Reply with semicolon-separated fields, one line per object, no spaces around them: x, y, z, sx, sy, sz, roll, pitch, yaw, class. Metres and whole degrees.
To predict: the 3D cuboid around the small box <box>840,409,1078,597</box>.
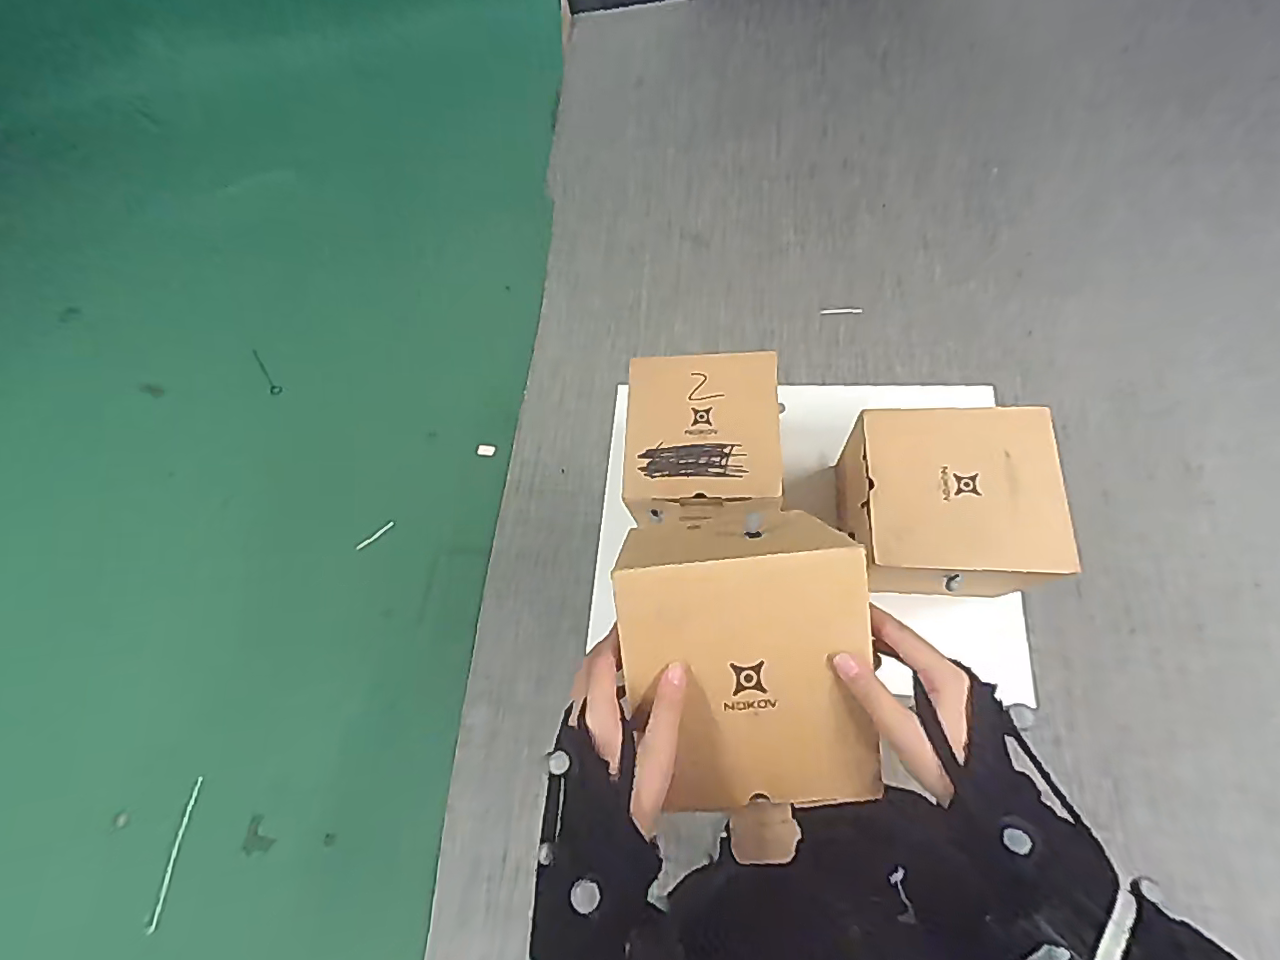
0.321;0.033;0.590;0.179;0.176;0.168;0;71;10;small box
